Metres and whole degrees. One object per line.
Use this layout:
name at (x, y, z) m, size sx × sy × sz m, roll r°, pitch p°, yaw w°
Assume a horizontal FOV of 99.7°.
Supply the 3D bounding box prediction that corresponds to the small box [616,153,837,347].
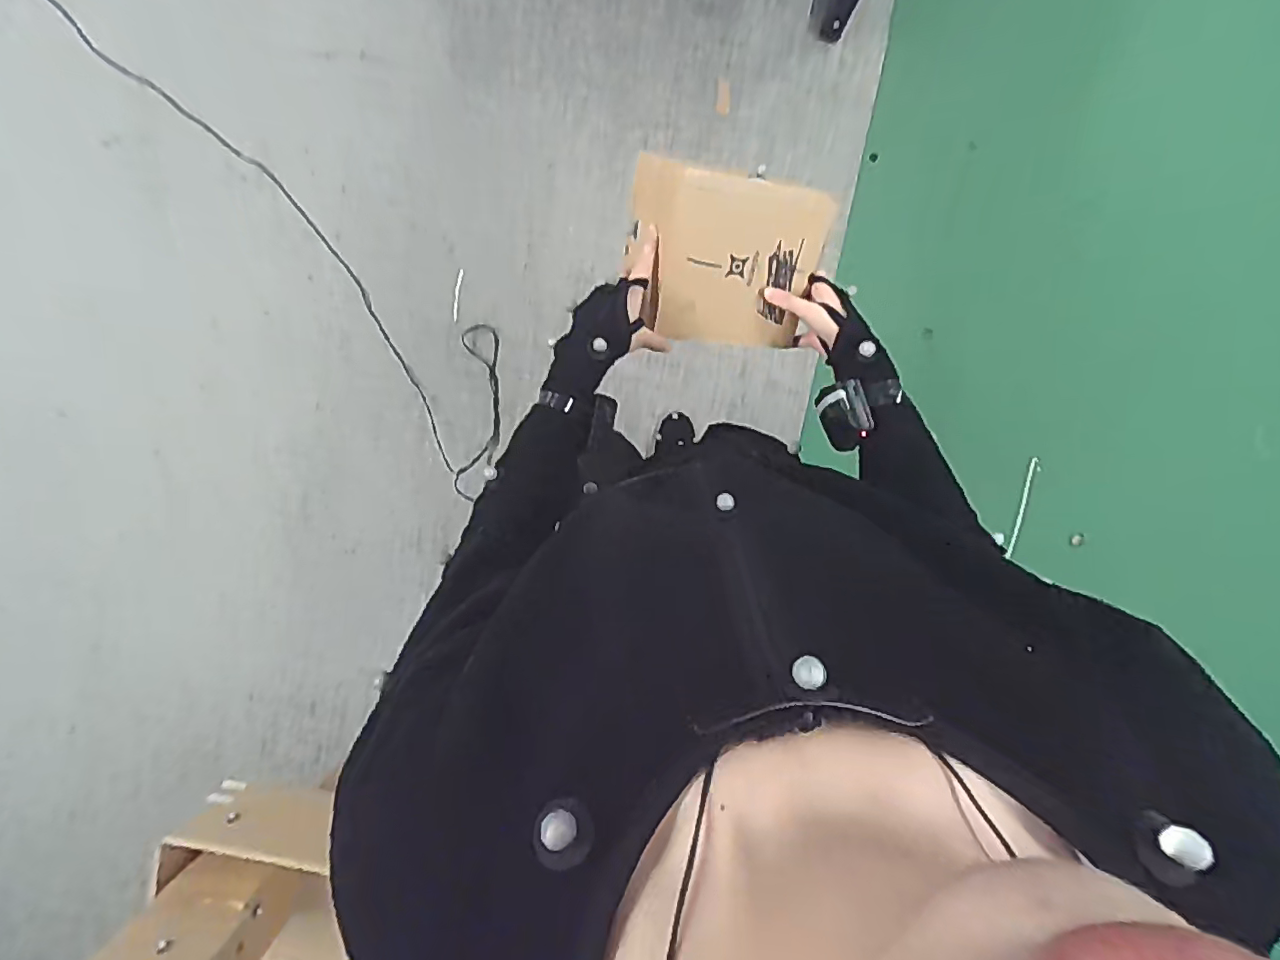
small box at (0.084, -0.267, 0.625) m, size 0.179 × 0.176 × 0.168 m, roll 0°, pitch 124°, yaw -18°
